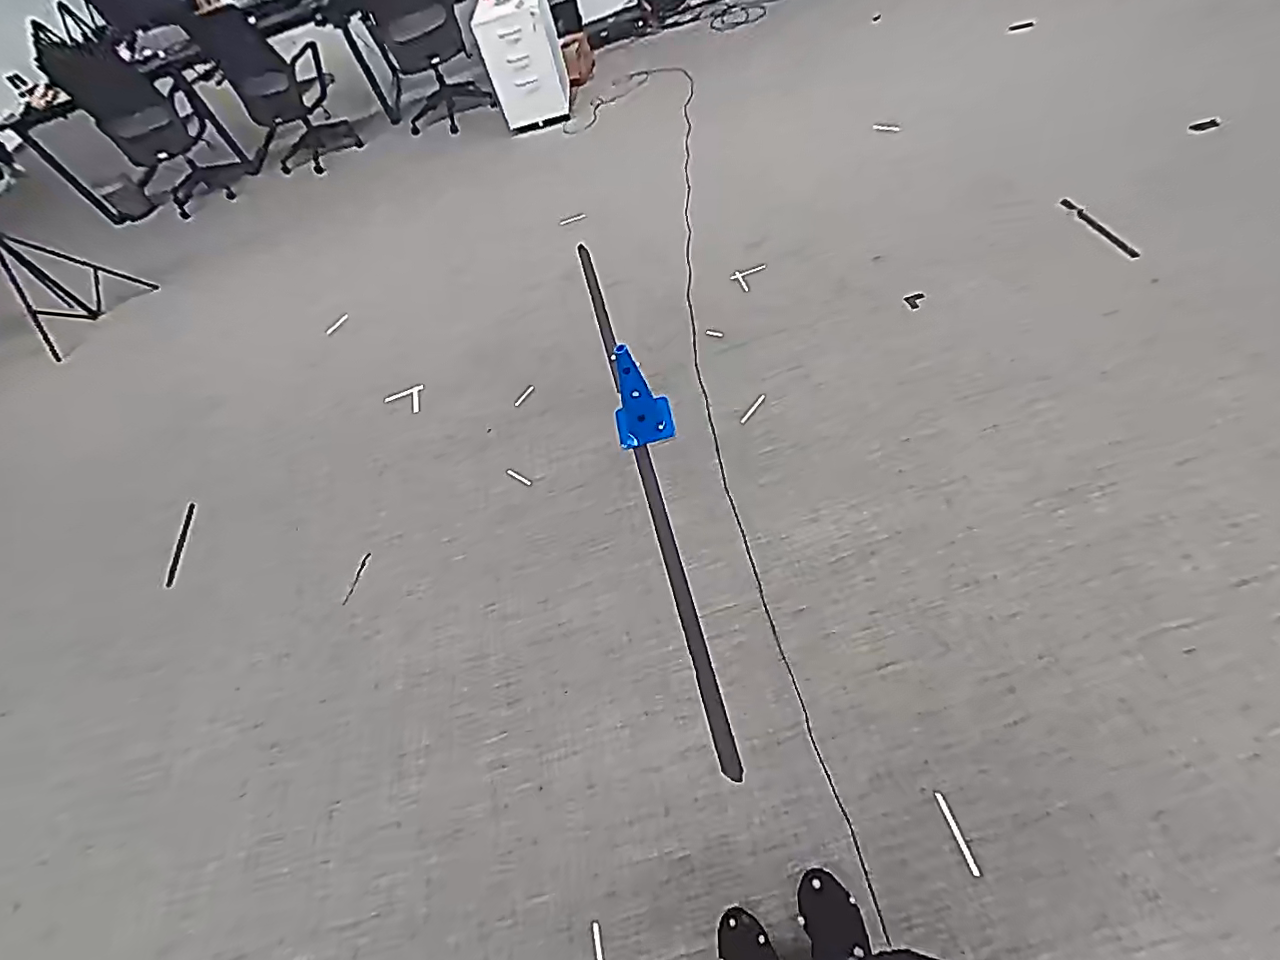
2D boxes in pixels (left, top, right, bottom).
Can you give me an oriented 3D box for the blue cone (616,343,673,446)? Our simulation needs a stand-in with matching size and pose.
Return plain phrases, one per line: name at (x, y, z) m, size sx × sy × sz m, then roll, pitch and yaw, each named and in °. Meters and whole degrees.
blue cone at (-0.022, -0.306, 1.793) m, size 0.193 × 0.380 × 0.192 m, roll -15°, pitch 53°, yaw 4°
